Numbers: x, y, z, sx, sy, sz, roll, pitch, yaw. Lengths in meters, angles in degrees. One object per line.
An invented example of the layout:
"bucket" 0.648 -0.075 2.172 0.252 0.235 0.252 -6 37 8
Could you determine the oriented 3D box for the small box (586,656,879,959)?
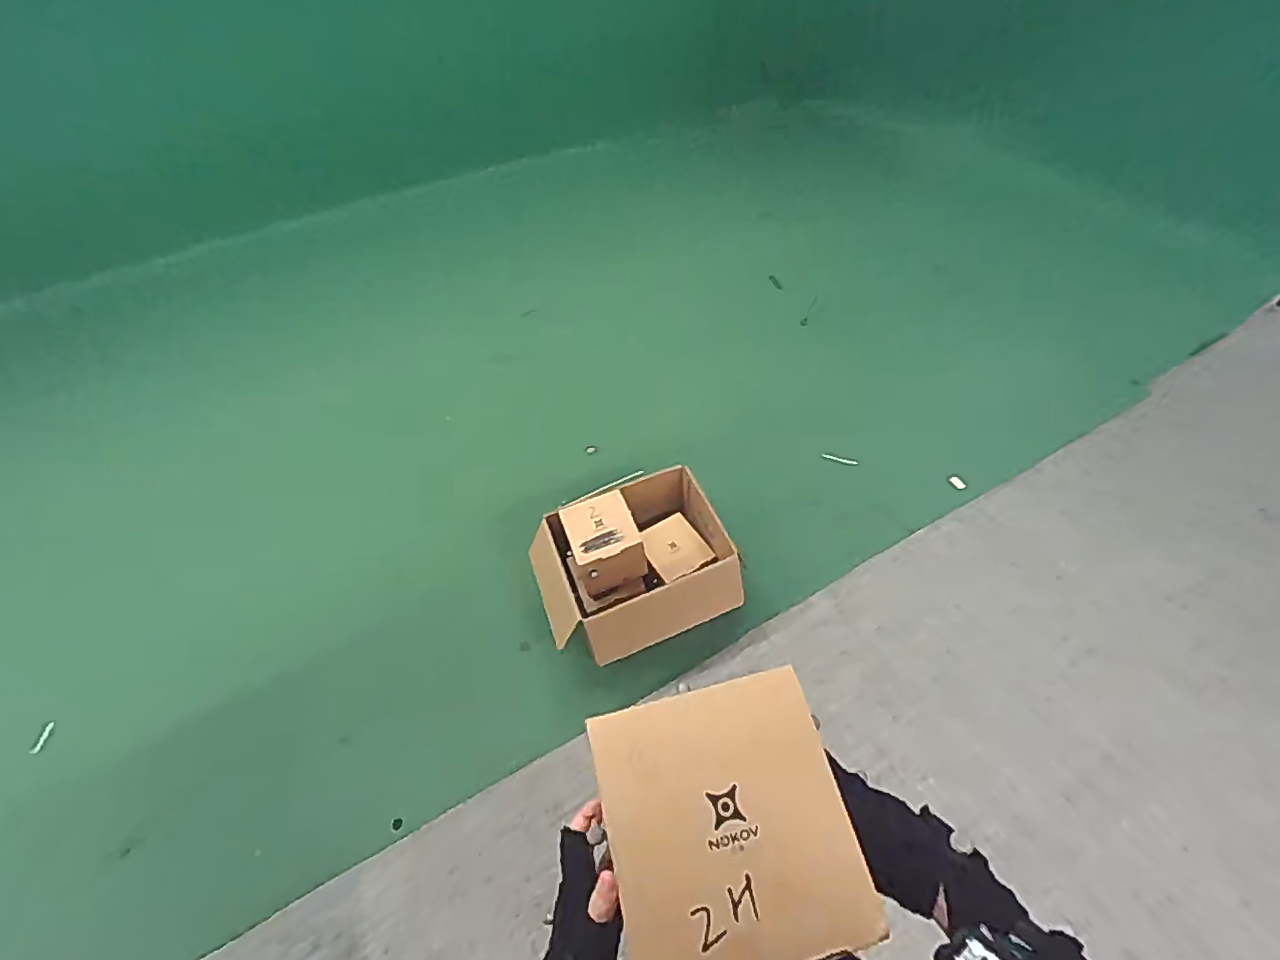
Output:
"small box" 0.053 0.263 0.442 0.168 0.176 0.179 -12 63 -7
